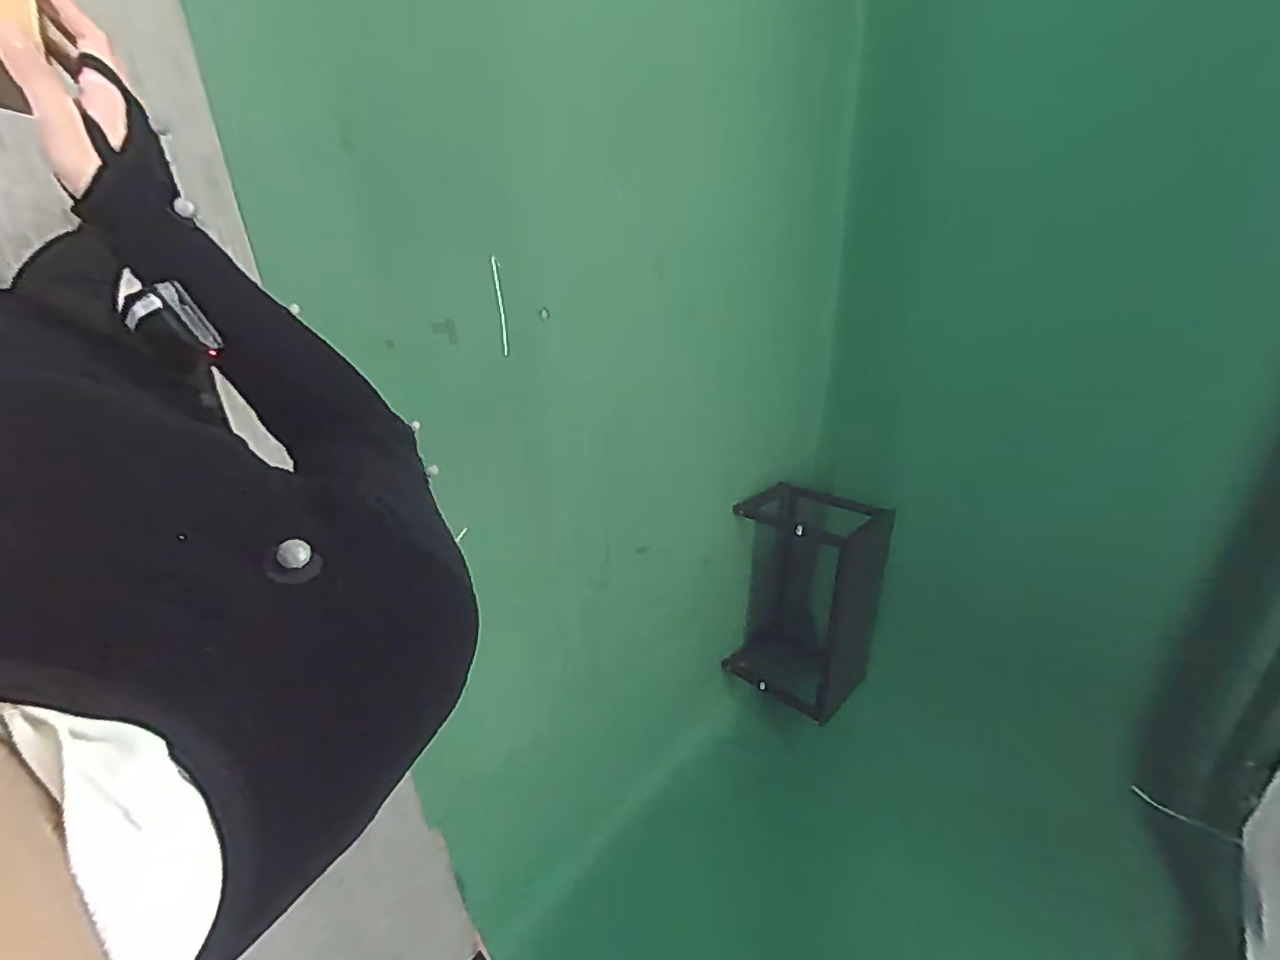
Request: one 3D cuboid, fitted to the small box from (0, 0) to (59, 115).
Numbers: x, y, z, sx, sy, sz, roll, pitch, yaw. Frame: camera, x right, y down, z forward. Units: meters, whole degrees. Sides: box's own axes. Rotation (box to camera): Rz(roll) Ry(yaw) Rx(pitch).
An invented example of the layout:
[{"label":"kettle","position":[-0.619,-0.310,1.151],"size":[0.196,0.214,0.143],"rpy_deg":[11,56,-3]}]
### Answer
[{"label":"small box","position":[-0.522,-0.388,0.362],"size":[0.168,0.176,0.179],"rpy_deg":[-6,106,-43]}]
